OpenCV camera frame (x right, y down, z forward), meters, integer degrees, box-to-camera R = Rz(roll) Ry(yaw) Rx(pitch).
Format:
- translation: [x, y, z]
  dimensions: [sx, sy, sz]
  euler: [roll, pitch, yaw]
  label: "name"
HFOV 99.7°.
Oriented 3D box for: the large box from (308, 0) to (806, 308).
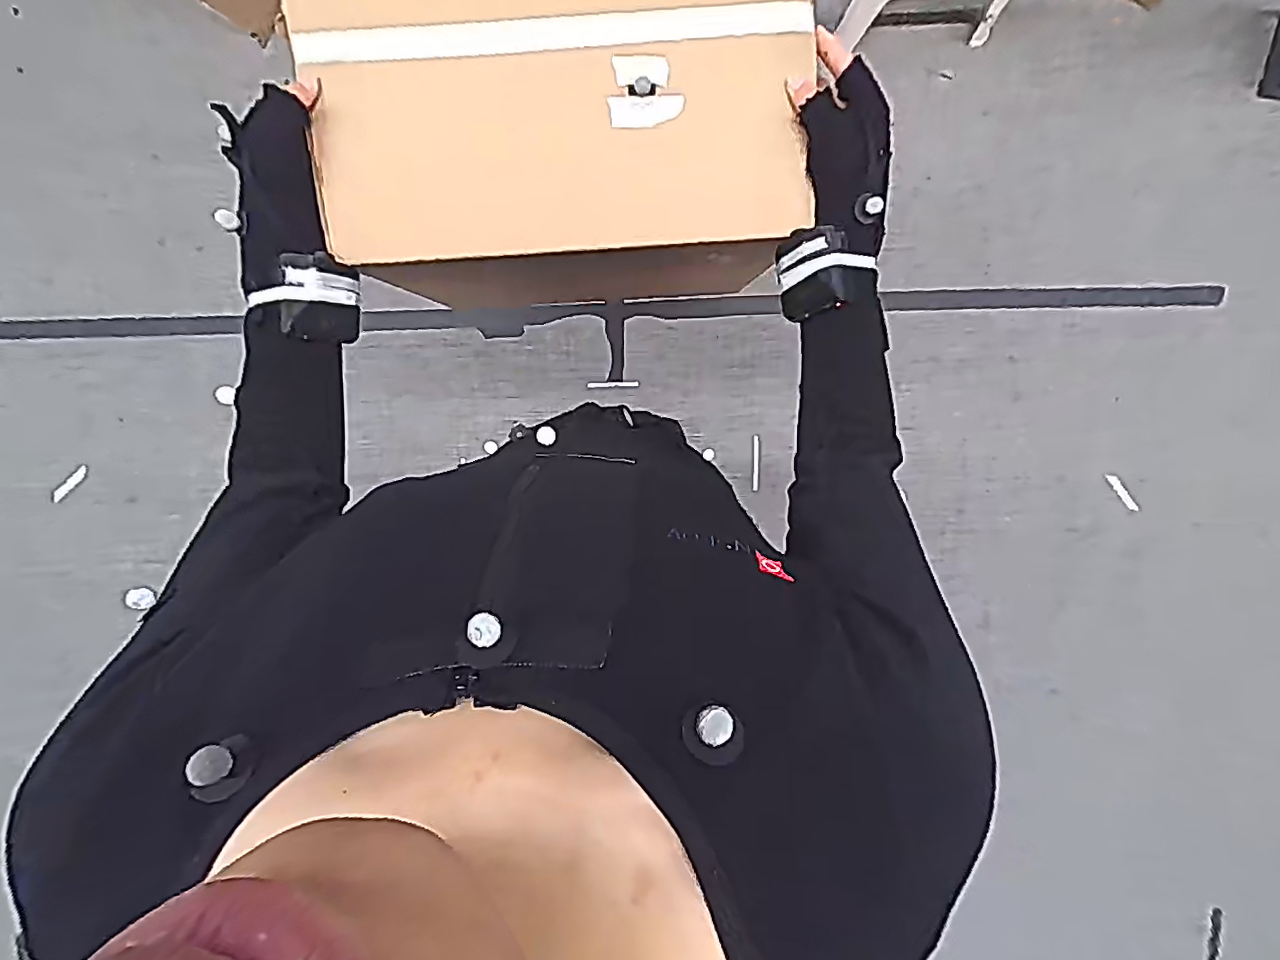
- translation: [-0.070, -0.378, 0.586]
  dimensions: [0.408, 0.320, 0.320]
  euler: [-4, 102, -1]
  label: "large box"
